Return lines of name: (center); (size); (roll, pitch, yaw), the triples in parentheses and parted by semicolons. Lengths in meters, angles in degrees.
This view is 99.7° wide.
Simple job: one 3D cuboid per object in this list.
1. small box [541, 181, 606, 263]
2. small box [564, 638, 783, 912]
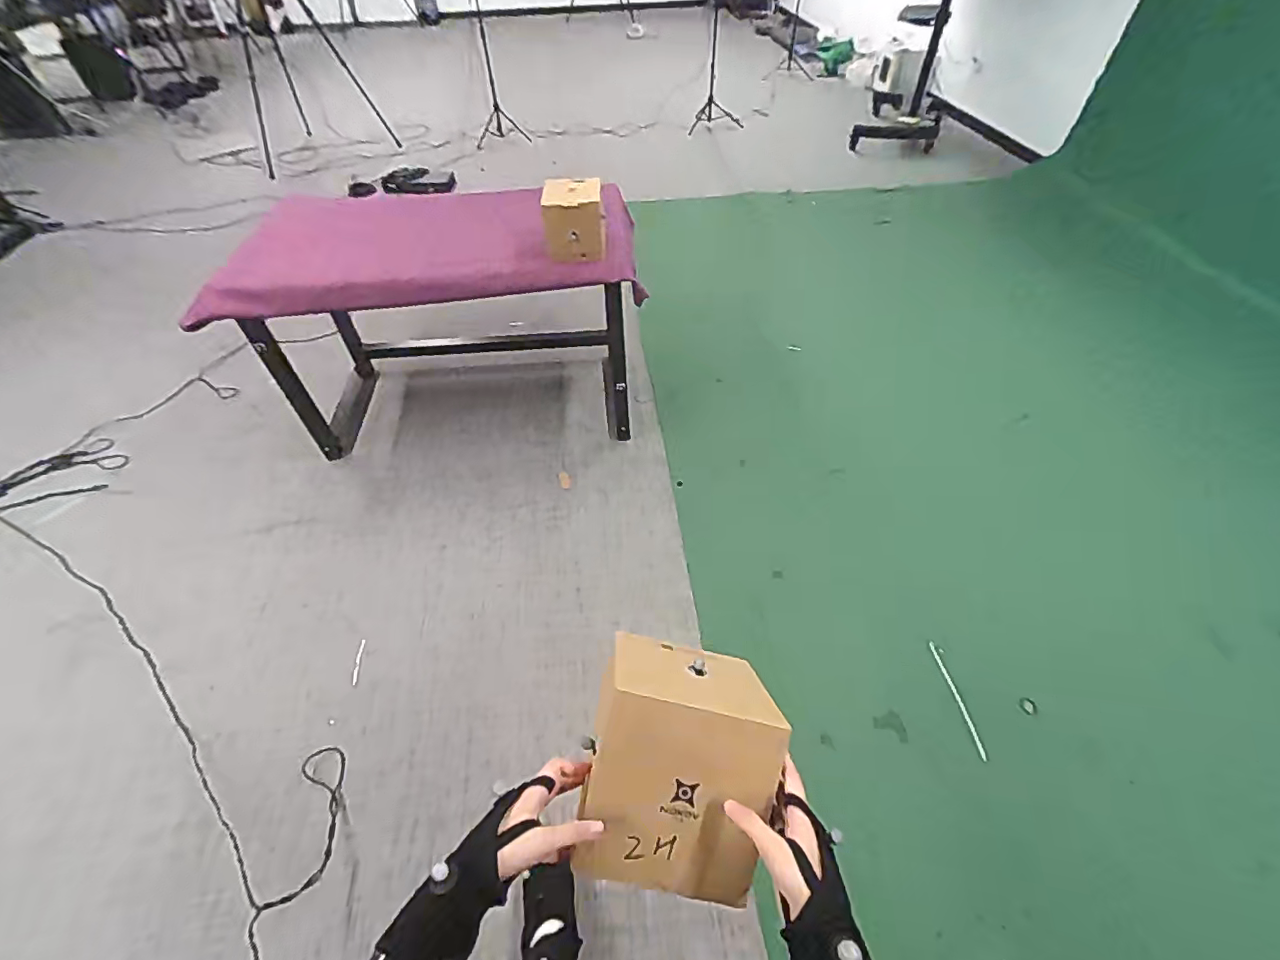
small box: (-0.188, -0.755, 1.593); (0.168, 0.176, 0.179); (-2, 50, 1)
small box: (0.027, 0.285, 0.562); (0.168, 0.176, 0.179); (14, 91, -2)
